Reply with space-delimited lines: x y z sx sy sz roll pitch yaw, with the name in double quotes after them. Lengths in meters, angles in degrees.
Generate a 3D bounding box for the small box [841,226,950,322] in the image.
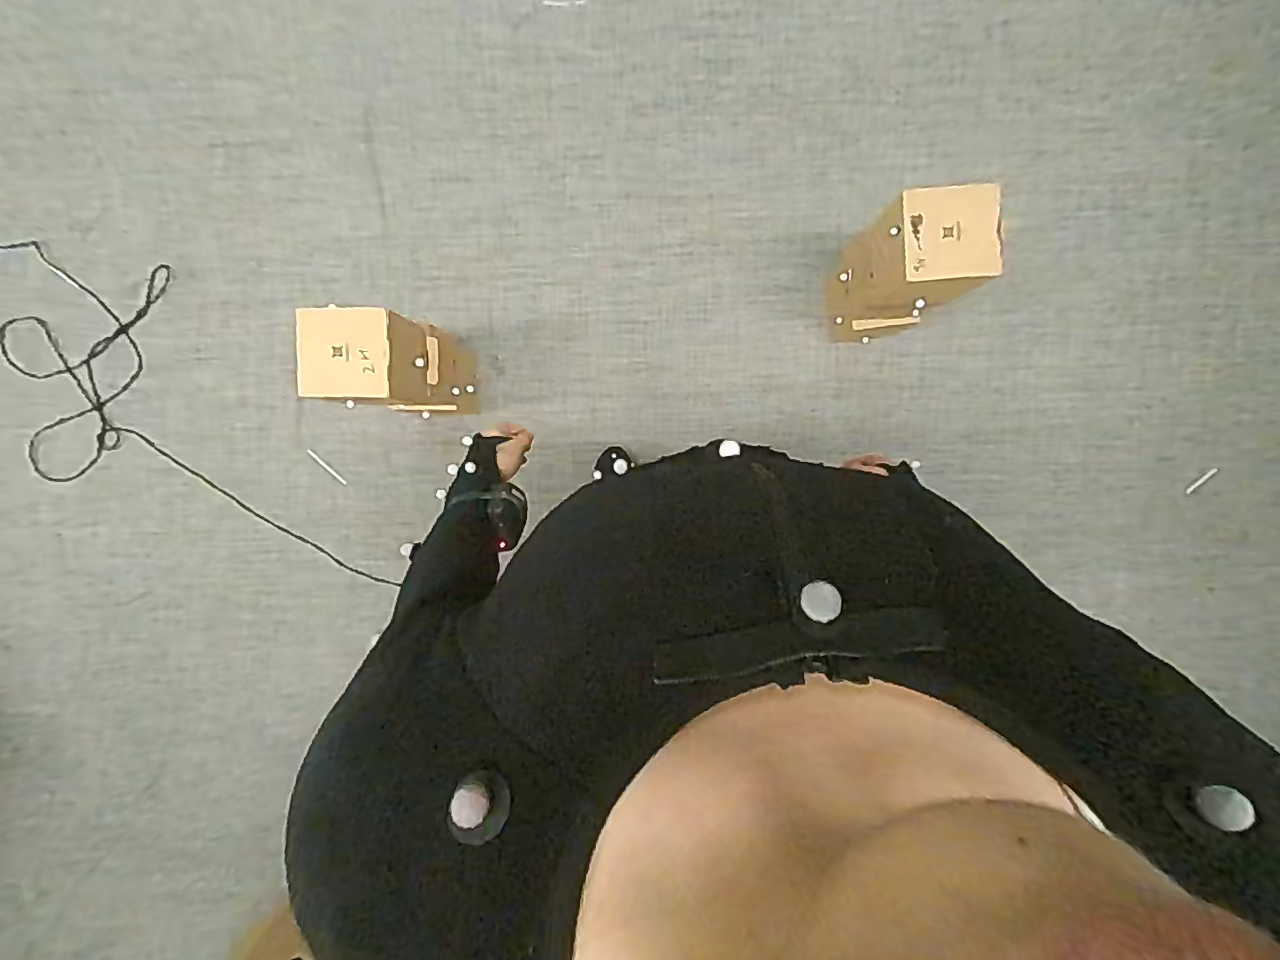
0.570 -0.460 1.220 0.179 0.176 0.168 -3 92 2 "small box"

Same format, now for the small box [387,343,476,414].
-0.532 -0.261 1.399 0.179 0.176 0.168 1 93 1 "small box"

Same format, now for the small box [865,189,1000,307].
0.563 -0.444 1.057 0.179 0.176 0.168 -3 92 0 "small box"

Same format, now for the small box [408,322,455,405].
-0.535 -0.263 1.235 0.179 0.176 0.168 1 93 2 "small box"

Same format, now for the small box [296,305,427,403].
-0.544 -0.241 1.071 0.179 0.176 0.168 1 94 1 "small box"
